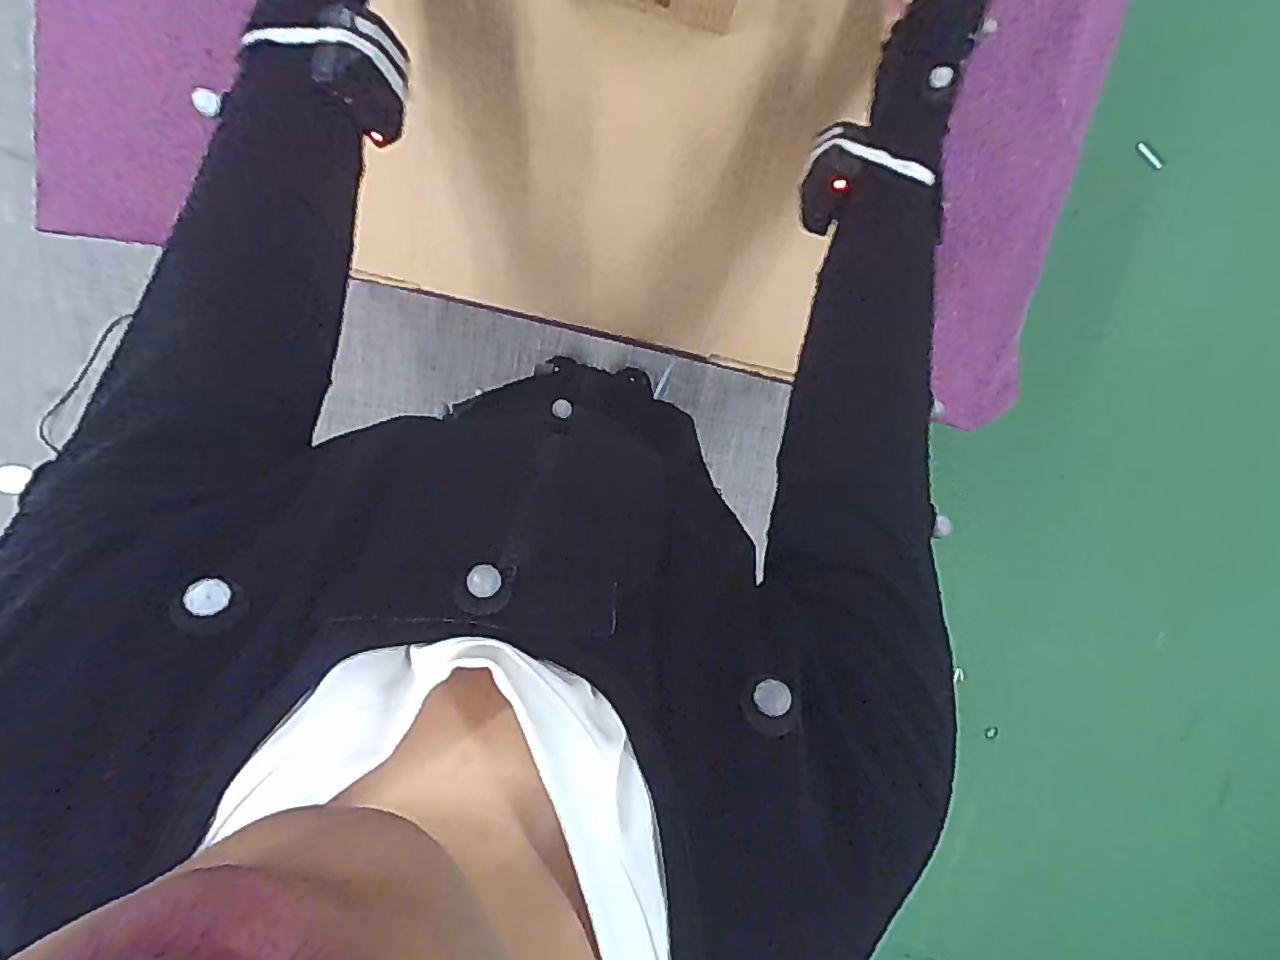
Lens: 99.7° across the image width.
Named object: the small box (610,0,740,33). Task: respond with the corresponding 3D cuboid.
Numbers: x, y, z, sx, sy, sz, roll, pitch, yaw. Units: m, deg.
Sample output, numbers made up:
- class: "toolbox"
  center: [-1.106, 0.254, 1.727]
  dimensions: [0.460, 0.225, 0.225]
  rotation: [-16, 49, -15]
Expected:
- class: "small box"
  center: [0.023, -0.474, 0.374]
  dimensions: [0.168, 0.176, 0.179]
  rotation: [13, 100, -5]
